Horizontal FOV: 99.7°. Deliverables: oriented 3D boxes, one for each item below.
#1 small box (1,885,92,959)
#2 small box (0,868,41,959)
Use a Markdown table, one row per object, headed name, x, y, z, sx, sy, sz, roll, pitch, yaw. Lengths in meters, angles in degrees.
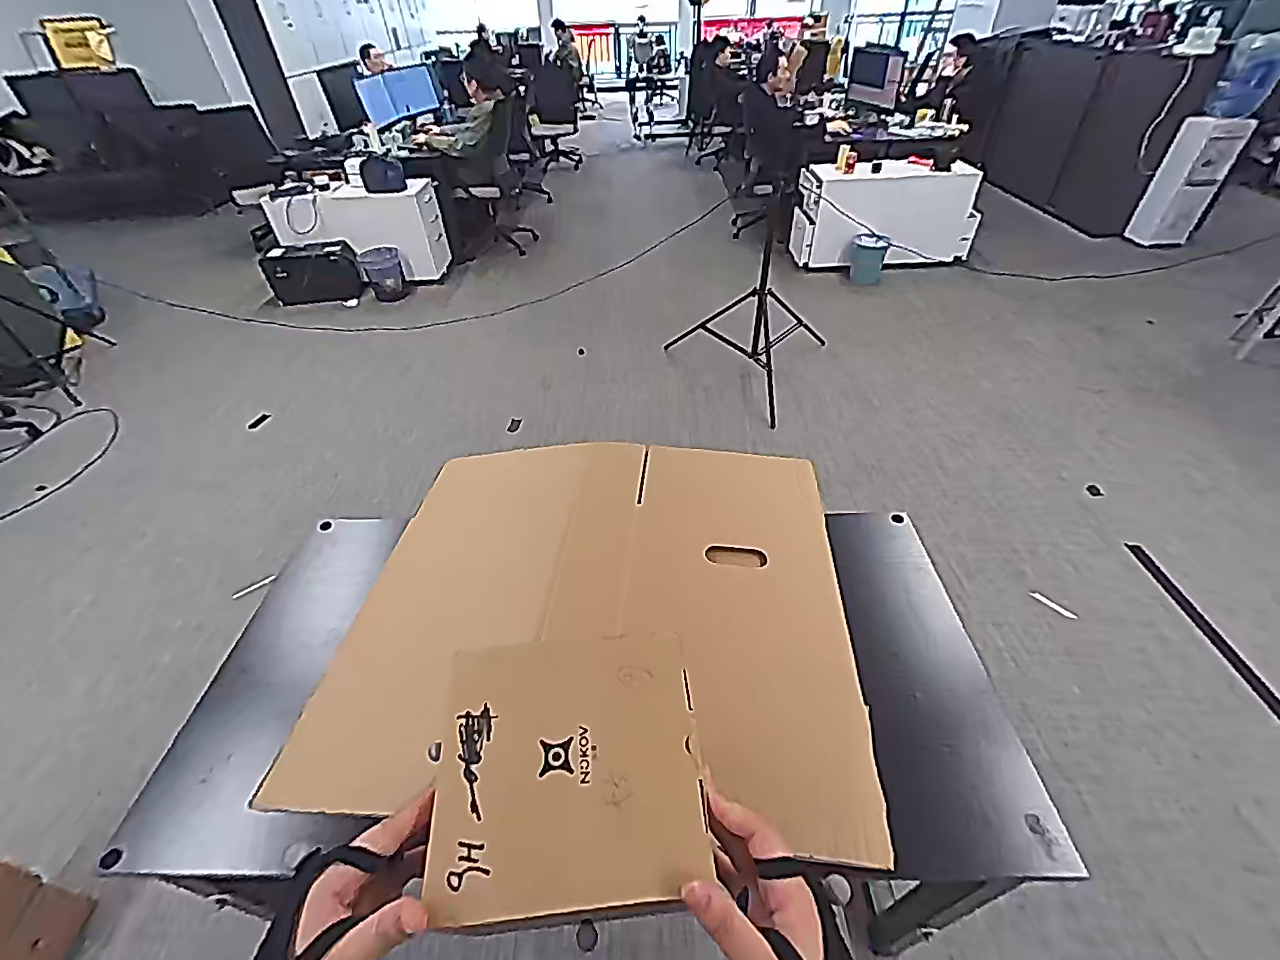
| name | x | y | z | sx | sy | sz | roll | pitch | yaw |
| --- | --- | --- | --- | --- | --- | --- | --- | --- | --- |
| small box | -1.322 | 0.979 | 1.128 | 0.168 | 0.176 | 0.179 | -4 | 42 | -2 |
| small box | -1.328 | 0.853 | 1.025 | 0.168 | 0.176 | 0.179 | -5 | 41 | -4 |
